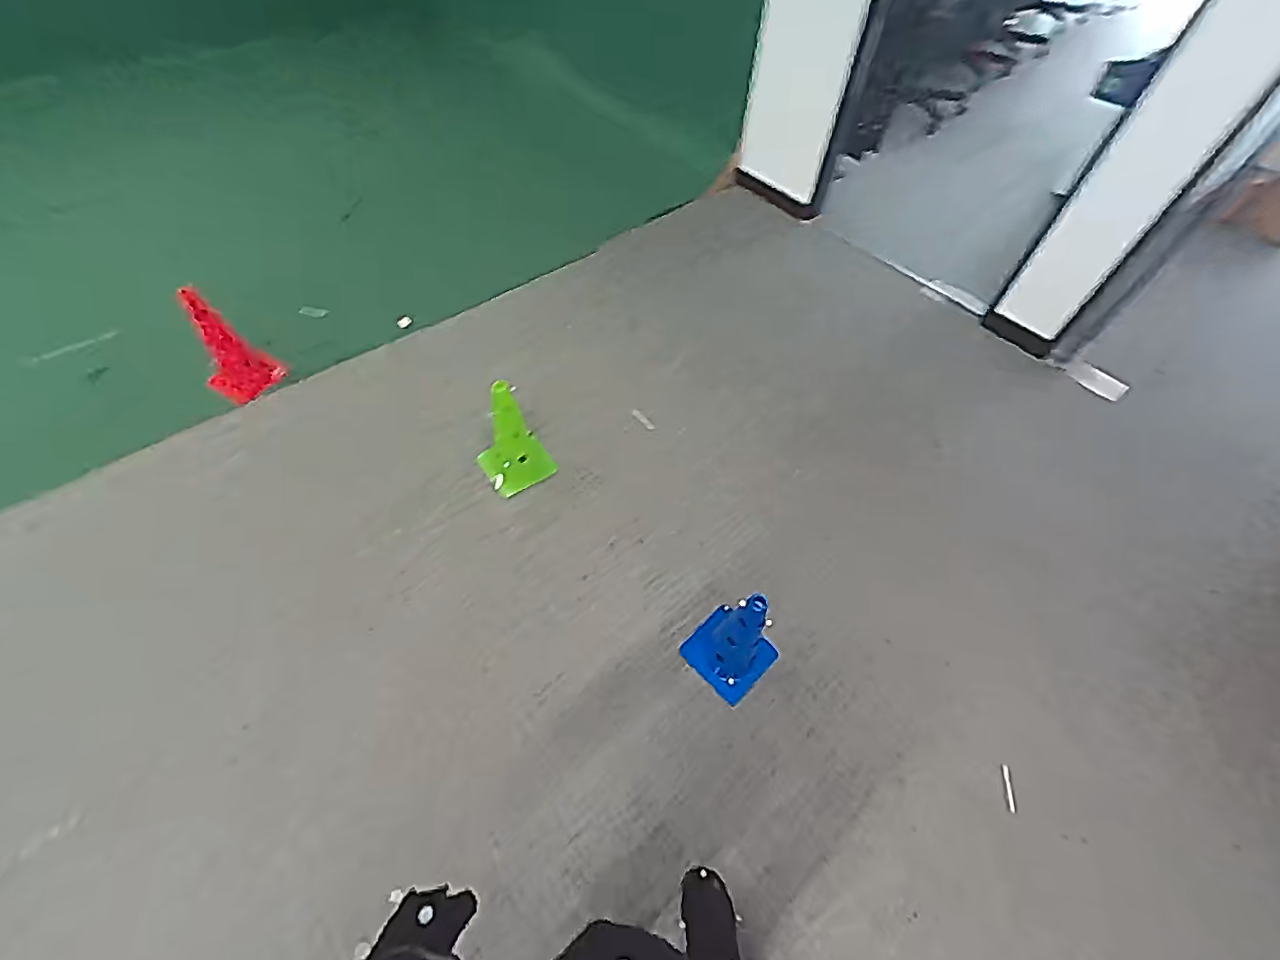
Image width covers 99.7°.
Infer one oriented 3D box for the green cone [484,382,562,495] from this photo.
[{"bbox_3d":[-0.377,-0.155,1.627,0.200,0.368,0.202,-30,62,-21],"label":"green cone"}]
